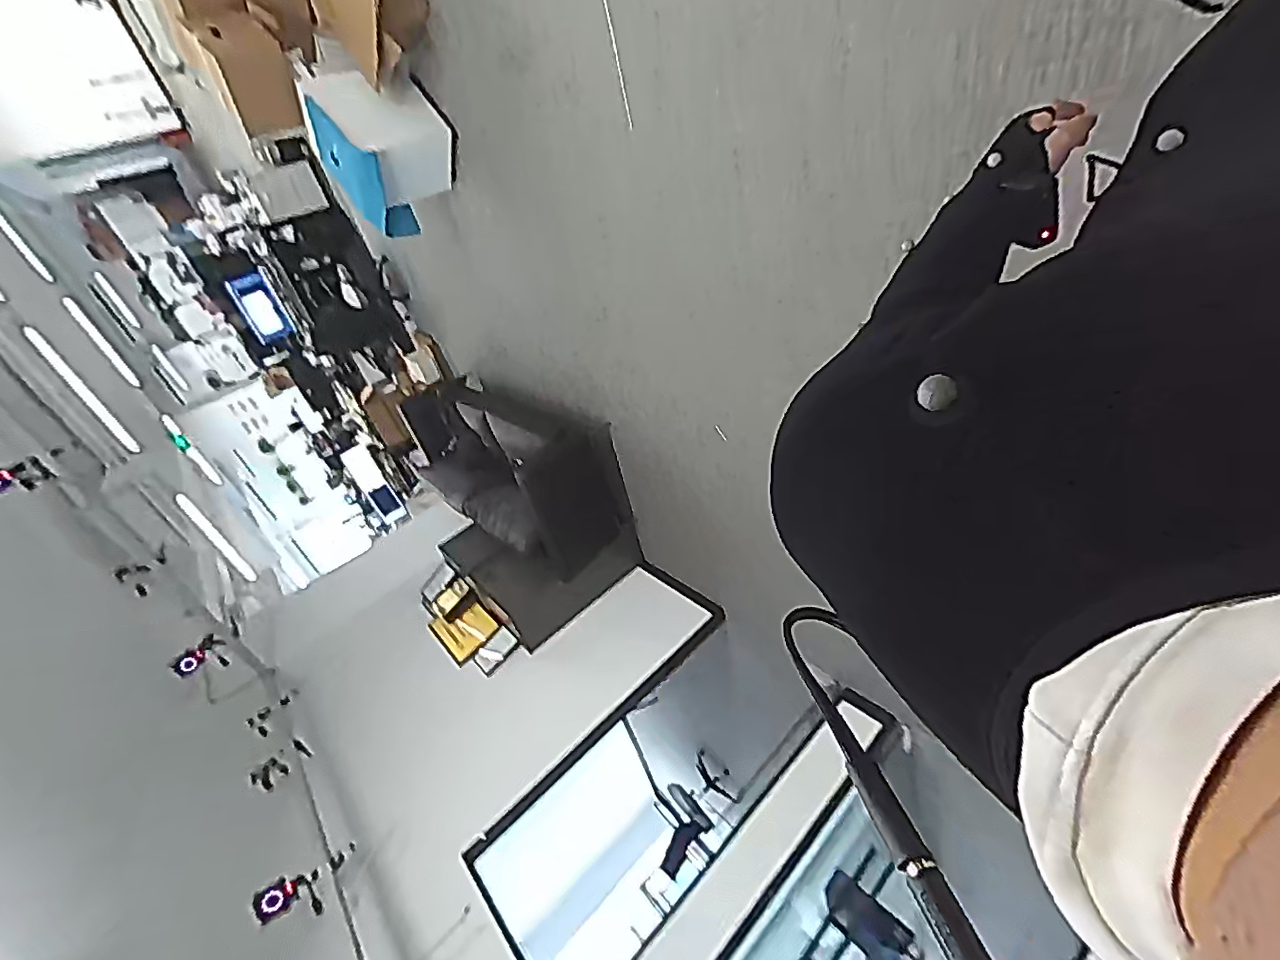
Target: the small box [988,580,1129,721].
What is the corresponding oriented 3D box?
[{"bbox_3d":[0.853,0.339,1.105,0.168,0.176,0.179,29,143,41],"label":"small box"}]
